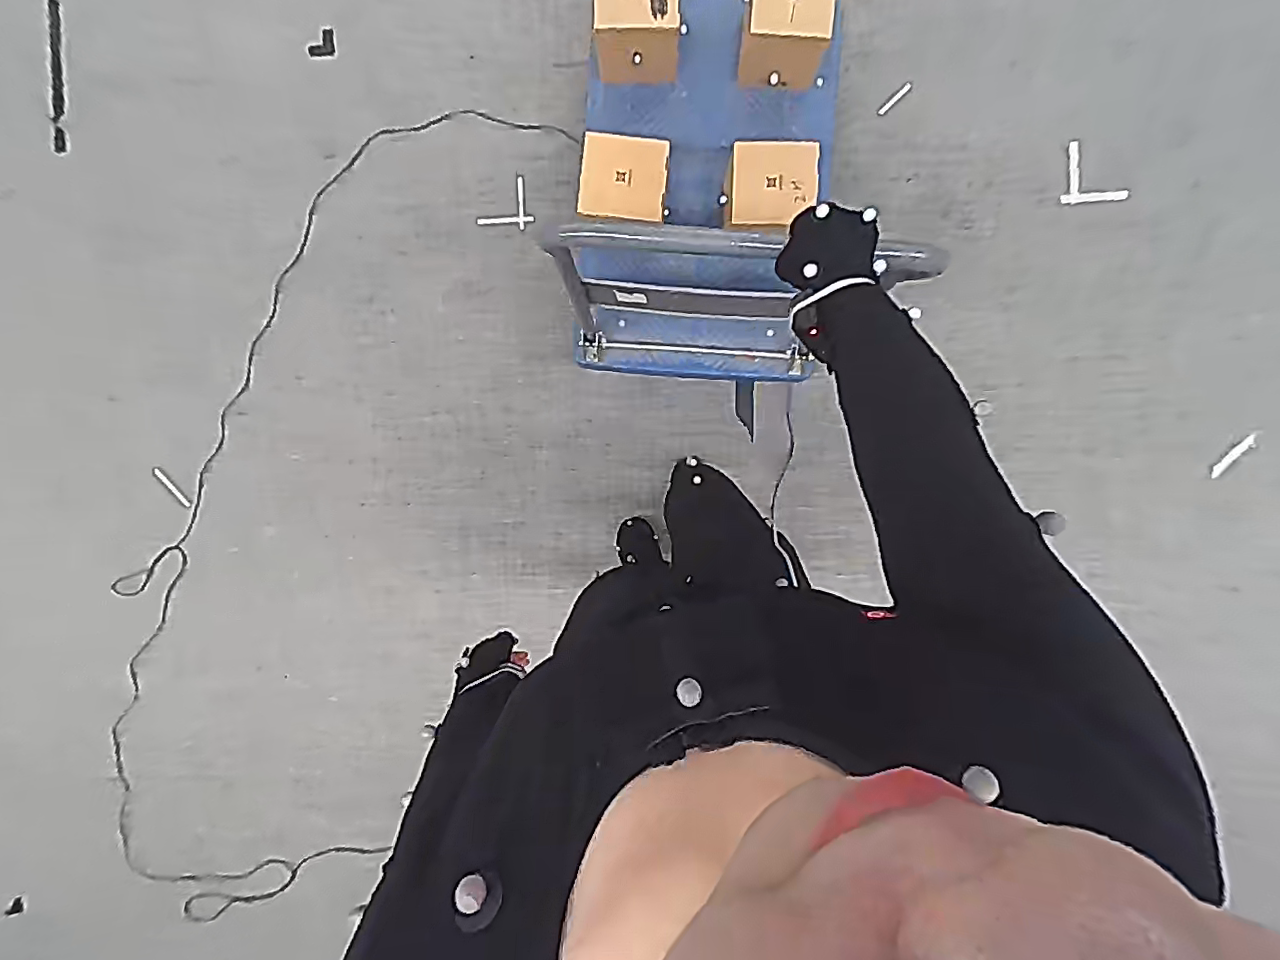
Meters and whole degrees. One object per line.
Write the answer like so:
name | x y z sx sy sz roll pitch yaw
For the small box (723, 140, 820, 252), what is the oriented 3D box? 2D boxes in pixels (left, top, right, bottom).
small box | 0.278 -0.610 1.178 0.179 0.176 0.168 1 93 1

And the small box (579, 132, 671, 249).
small box | -0.031 -0.625 1.184 0.179 0.176 0.168 6 93 -1

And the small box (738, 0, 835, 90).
small box | 0.310 -0.984 1.158 0.168 0.176 0.179 4 94 1
